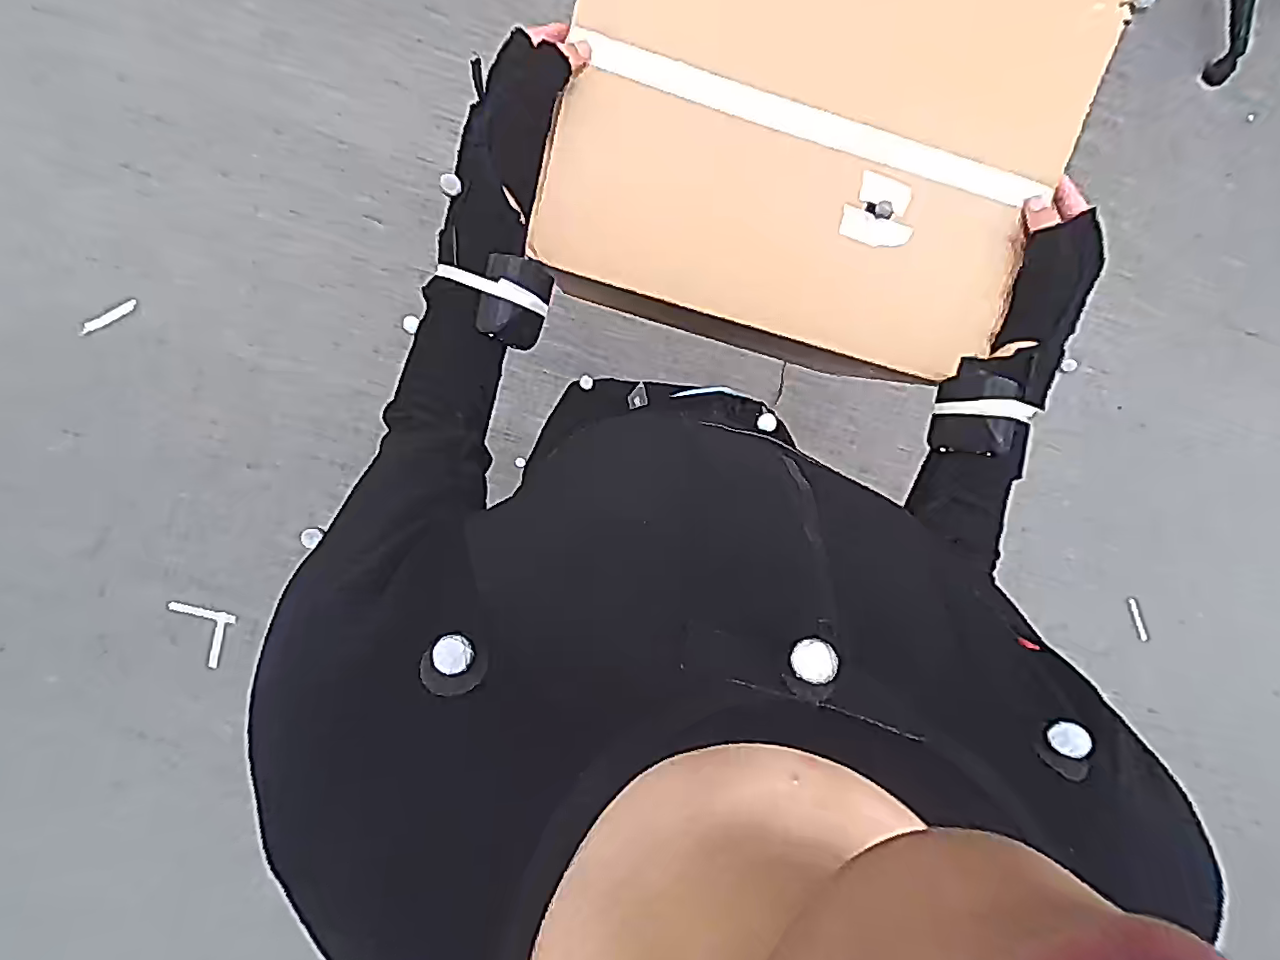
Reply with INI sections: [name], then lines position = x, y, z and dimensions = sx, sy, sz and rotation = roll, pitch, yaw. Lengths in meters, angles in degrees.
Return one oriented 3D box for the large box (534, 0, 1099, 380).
[large box]
position = 0.128, -0.316, 0.583
dimensions = 0.408, 0.320, 0.320
rotation = 15, 104, -7
